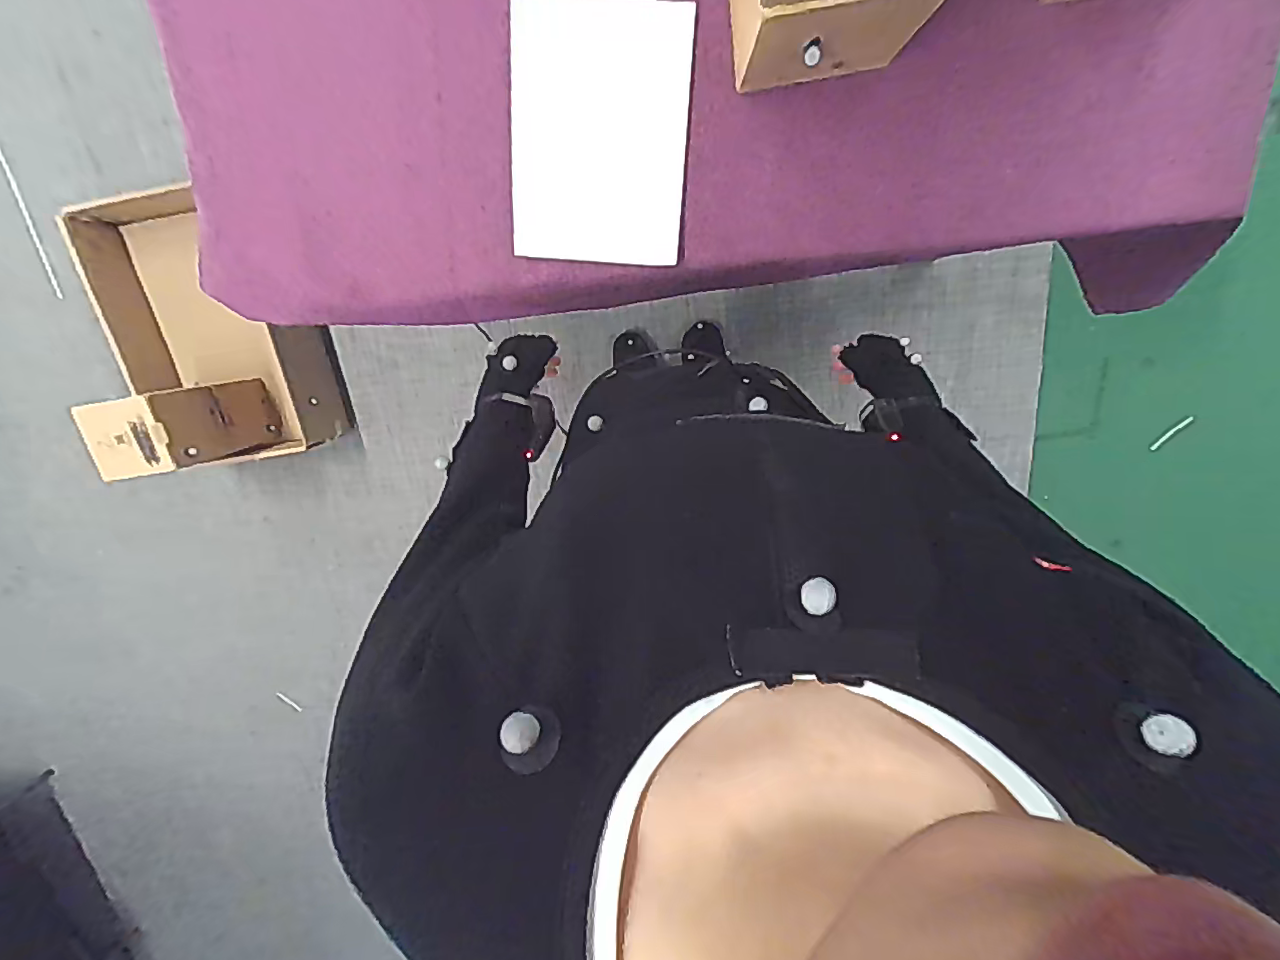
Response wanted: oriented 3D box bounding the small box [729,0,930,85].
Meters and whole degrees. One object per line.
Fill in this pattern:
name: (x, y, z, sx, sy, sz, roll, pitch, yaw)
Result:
small box: (0.173, -0.499, 0.499, 0.168, 0.176, 0.179, -7, 106, 5)
